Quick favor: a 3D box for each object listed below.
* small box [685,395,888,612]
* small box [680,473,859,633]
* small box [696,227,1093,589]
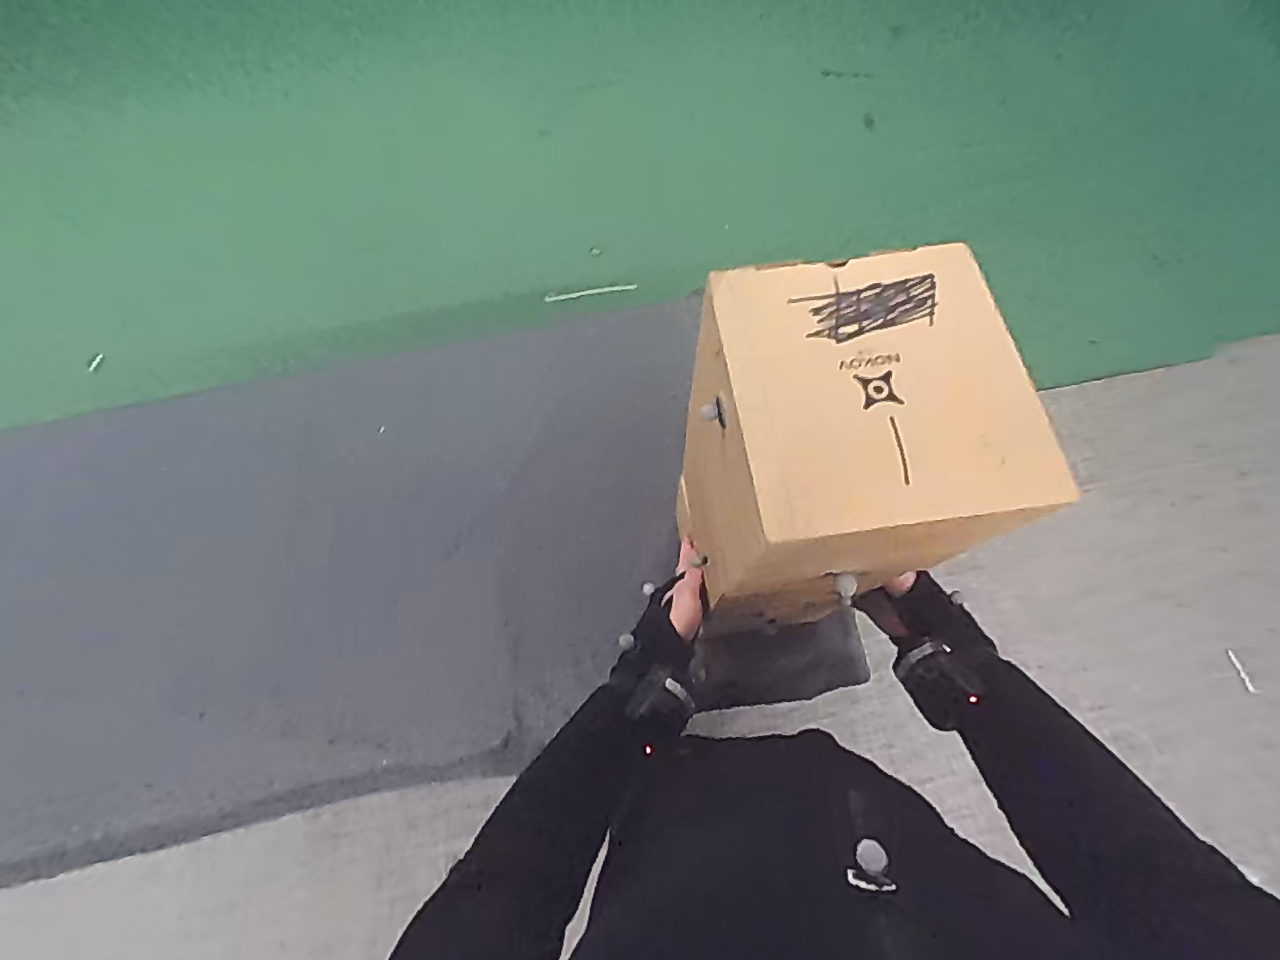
[{"bbox_3d":[0.138,0.024,0.522,0.168,0.176,0.179,-8,66,-1],"label":"small box"},{"bbox_3d":[0.145,0.089,0.672,0.168,0.176,0.179,-9,68,-1],"label":"small box"},{"bbox_3d":[0.134,-0.036,0.368,0.168,0.176,0.179,-7,68,-1],"label":"small box"}]
